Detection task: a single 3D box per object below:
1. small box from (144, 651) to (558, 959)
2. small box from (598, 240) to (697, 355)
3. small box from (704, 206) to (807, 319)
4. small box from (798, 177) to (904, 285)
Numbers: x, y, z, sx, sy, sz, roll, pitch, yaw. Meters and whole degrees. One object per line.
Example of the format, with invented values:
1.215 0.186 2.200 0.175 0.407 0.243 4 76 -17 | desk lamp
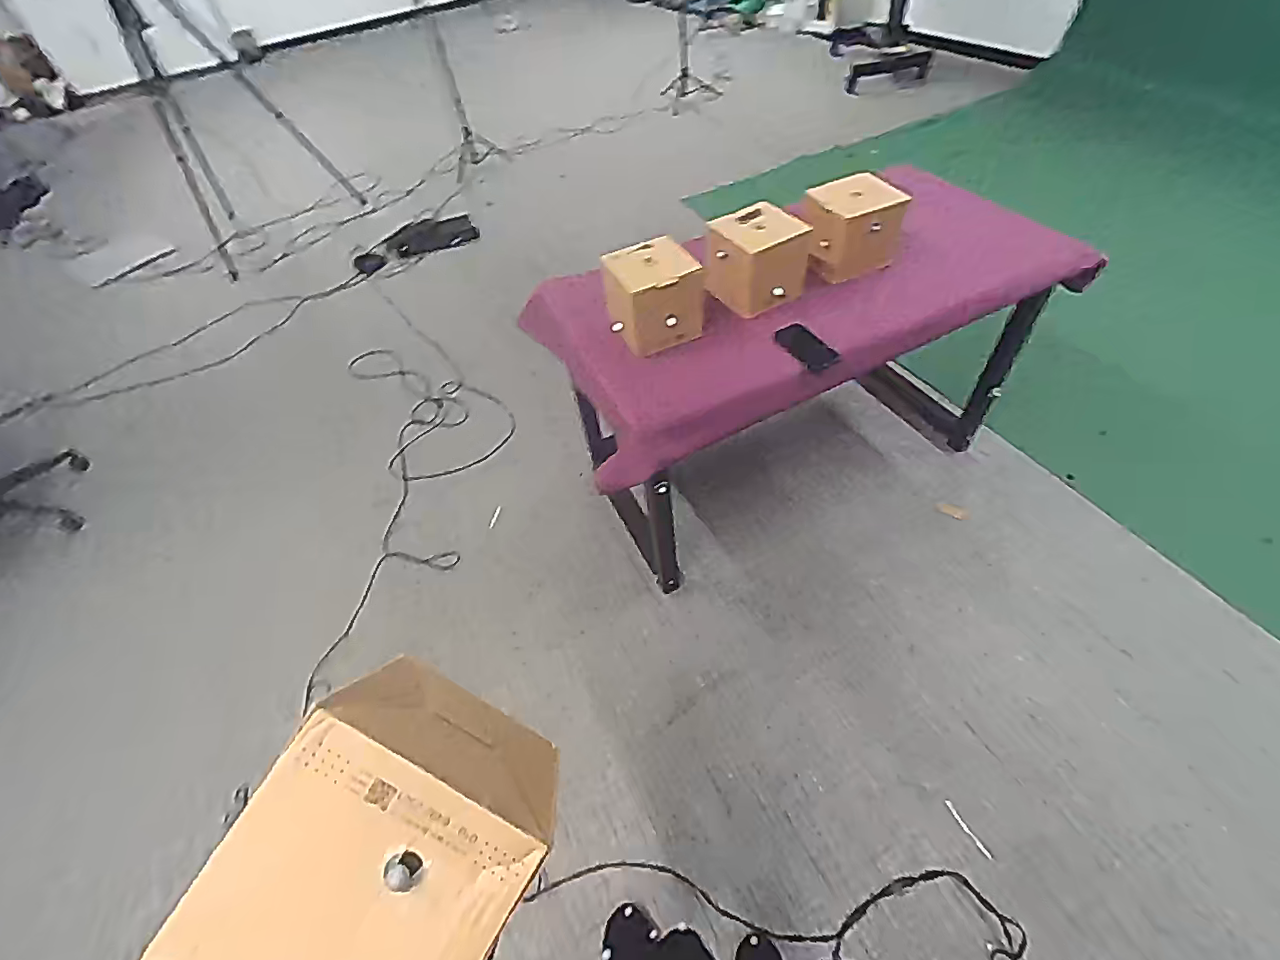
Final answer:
-0.172 0.247 0.395 0.168 0.179 0.176 33 79 -1 | small box
0.022 -0.402 1.216 0.168 0.176 0.179 -23 52 -11 | small box
0.262 -0.508 1.270 0.168 0.176 0.179 -27 53 -14 | small box
0.500 -0.603 1.316 0.179 0.176 0.168 -21 52 -9 | small box
